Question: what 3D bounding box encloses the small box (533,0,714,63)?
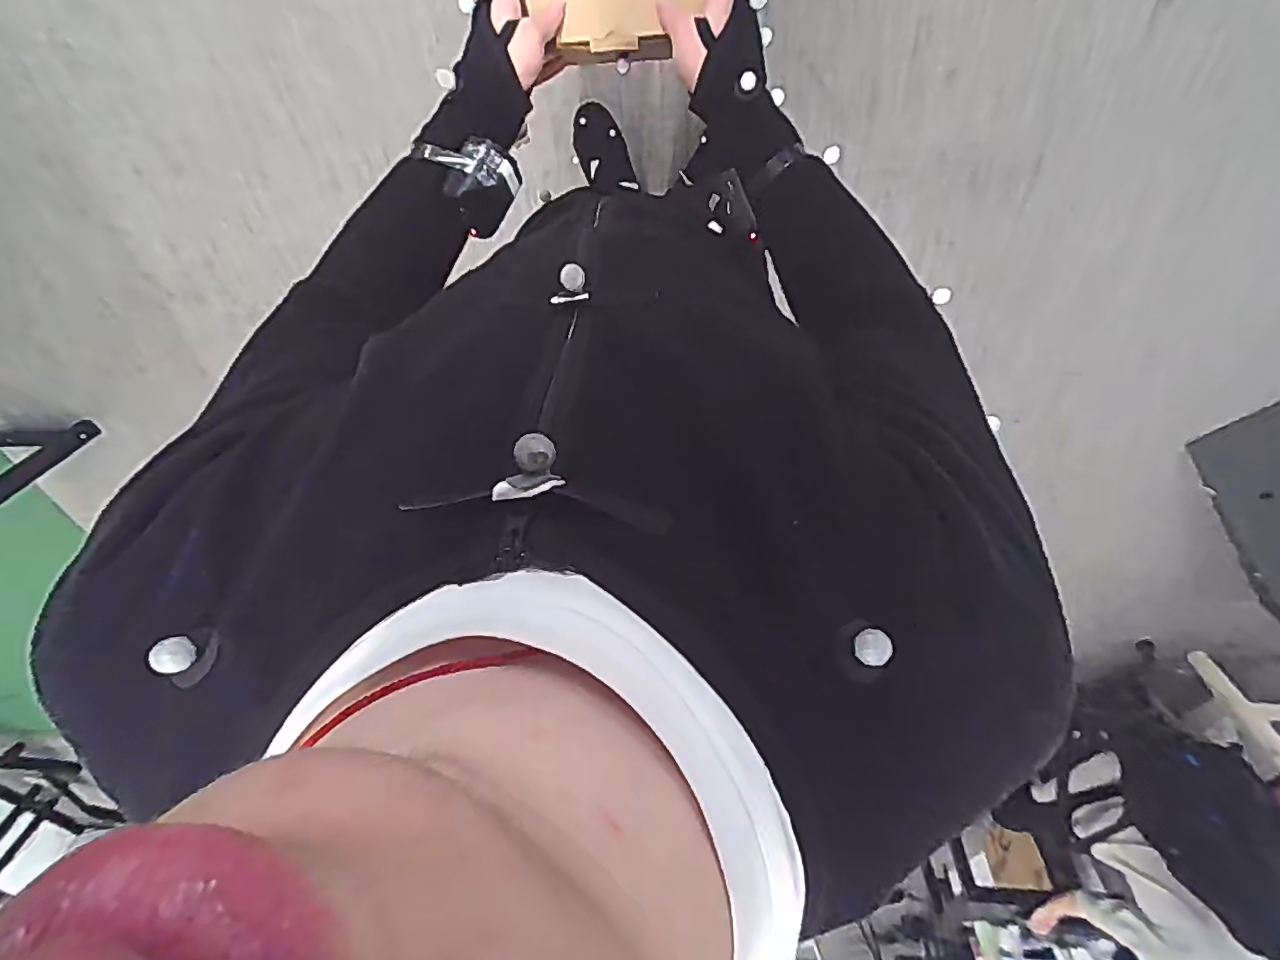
[{"bbox_3d":[-0.013,-0.515,0.515,0.168,0.176,0.179,-2,123,6],"label":"small box"}]
